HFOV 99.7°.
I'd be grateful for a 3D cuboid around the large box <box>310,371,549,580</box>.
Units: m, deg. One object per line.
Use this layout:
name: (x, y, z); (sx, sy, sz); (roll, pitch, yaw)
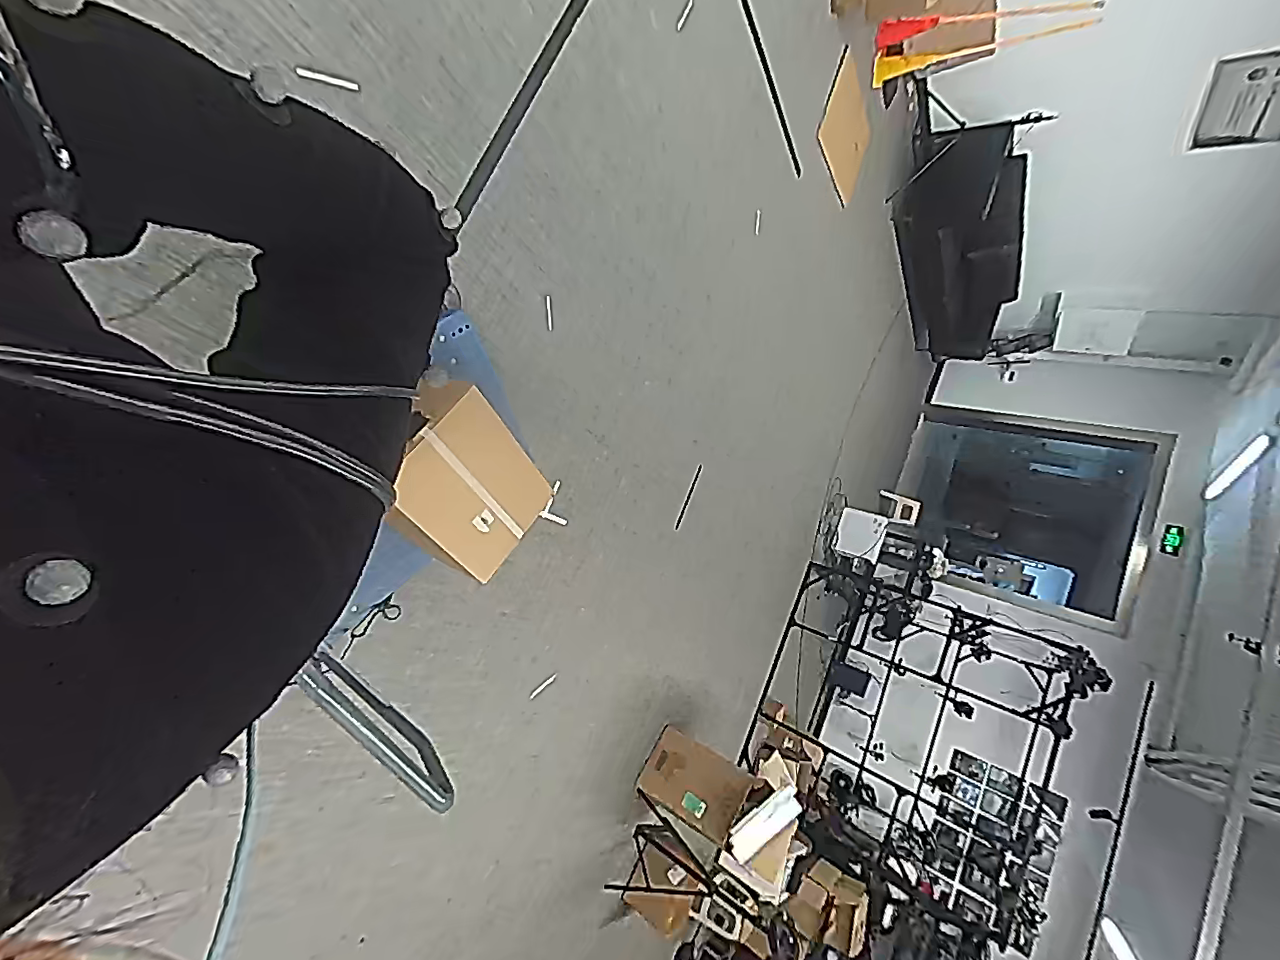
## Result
large box: (-0.510, -0.015, 1.365); (0.320, 0.320, 0.408); (-55, 141, -24)
